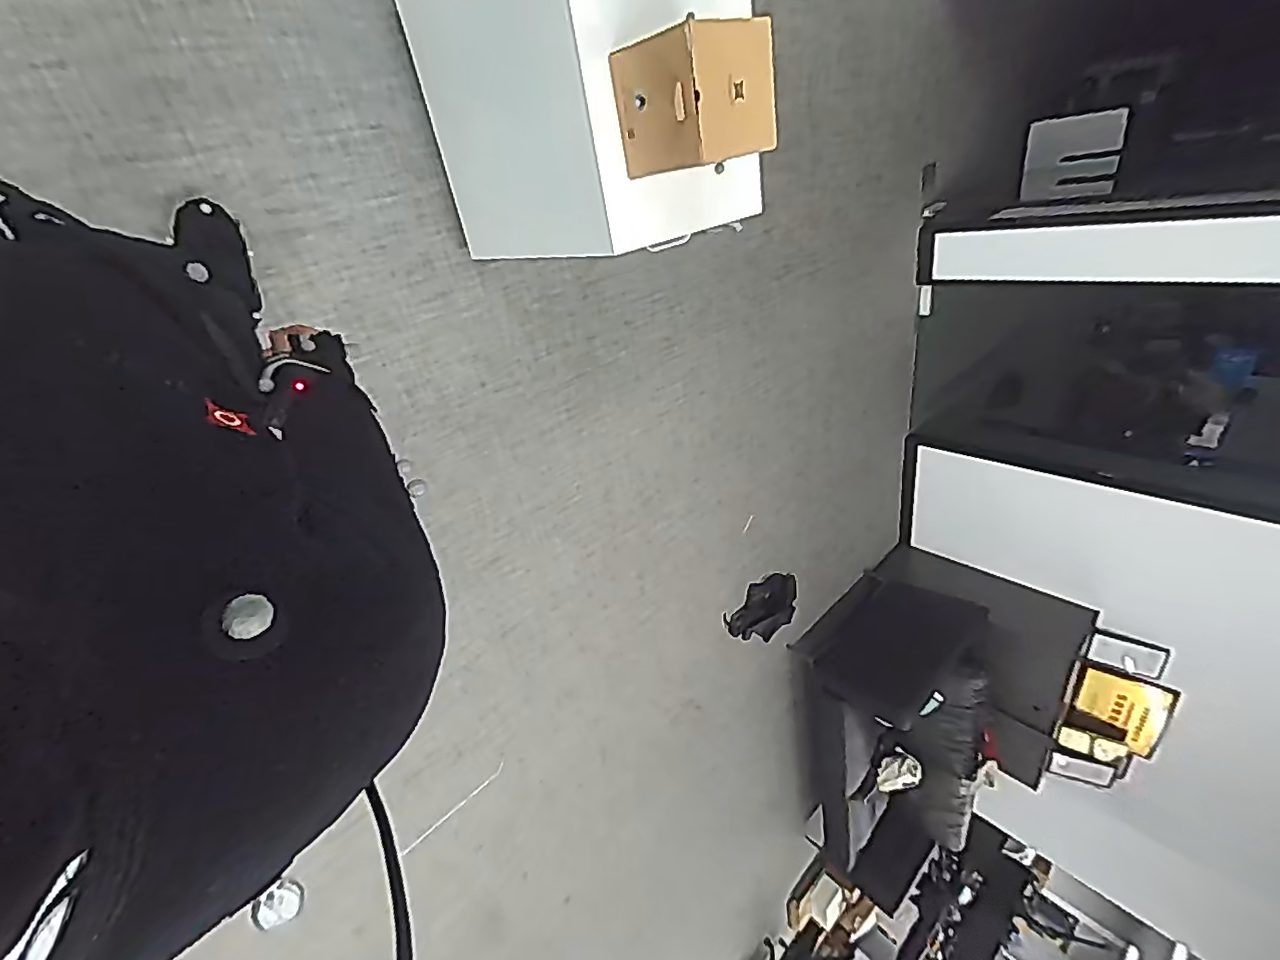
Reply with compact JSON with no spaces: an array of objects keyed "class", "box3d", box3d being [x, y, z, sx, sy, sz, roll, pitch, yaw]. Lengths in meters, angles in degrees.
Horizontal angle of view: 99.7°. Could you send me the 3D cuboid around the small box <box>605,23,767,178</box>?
[{"class":"small box","box3d":[0.073,-0.574,0.829,0.179,0.176,0.168,-32,126,-30]}]
